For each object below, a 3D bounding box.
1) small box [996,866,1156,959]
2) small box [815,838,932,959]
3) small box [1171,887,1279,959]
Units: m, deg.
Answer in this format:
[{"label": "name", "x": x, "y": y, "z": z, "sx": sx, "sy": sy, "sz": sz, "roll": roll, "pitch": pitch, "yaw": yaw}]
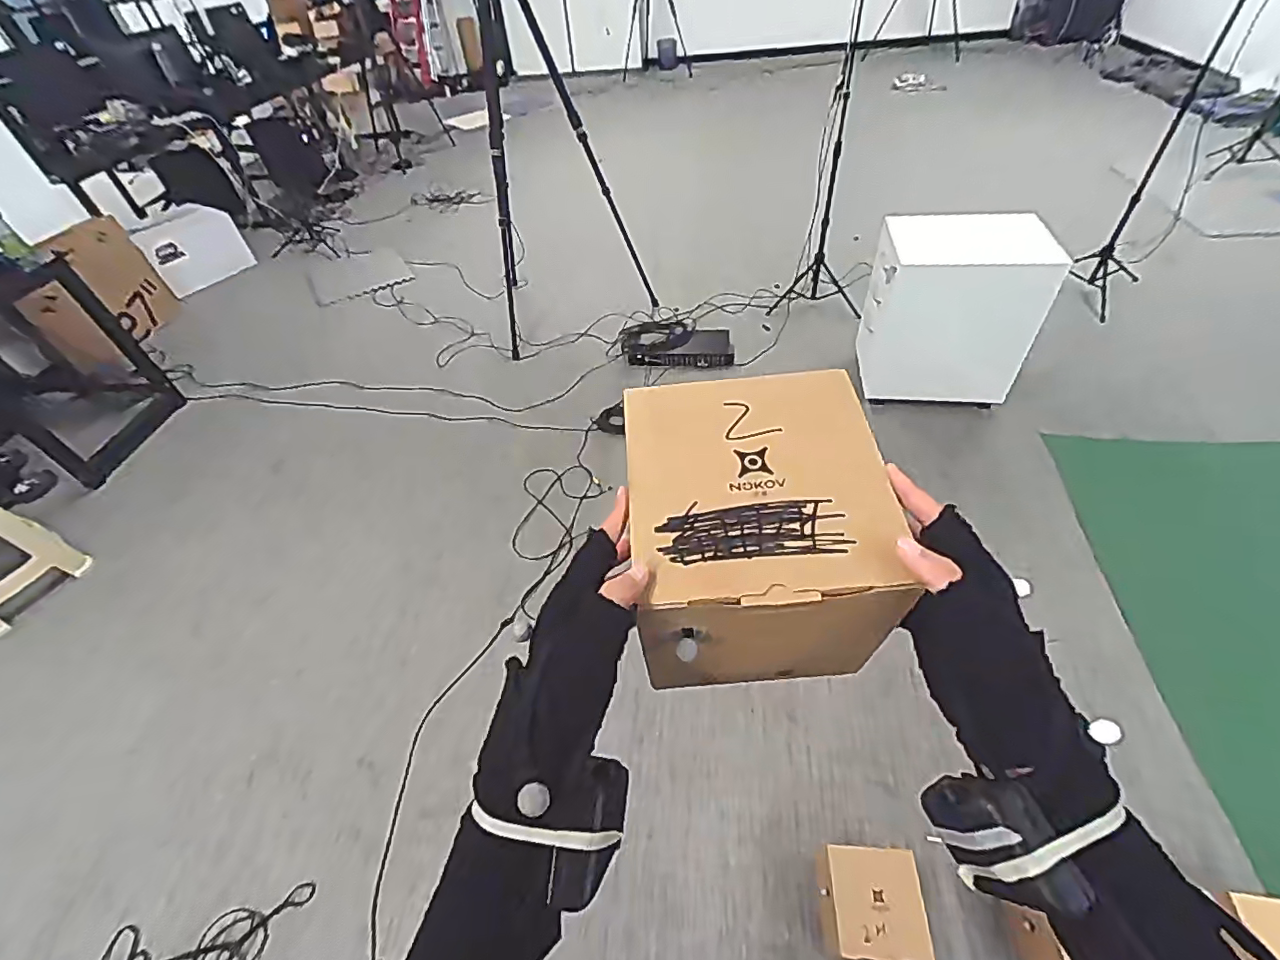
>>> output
[{"label": "small box", "x": 0.826, "y": 0.861, "z": 1.033, "sx": 0.168, "sy": 0.176, "sz": 0.179, "roll": 0, "pitch": 46, "yaw": 5}, {"label": "small box", "x": 0.454, "y": 0.844, "z": 1.083, "sx": 0.168, "sy": 0.176, "sz": 0.179, "roll": 0, "pitch": 48, "yaw": 8}, {"label": "small box", "x": 1.146, "y": 0.876, "z": 0.988, "sx": 0.168, "sy": 0.176, "sz": 0.179, "roll": 3, "pitch": 48, "yaw": 9}]
